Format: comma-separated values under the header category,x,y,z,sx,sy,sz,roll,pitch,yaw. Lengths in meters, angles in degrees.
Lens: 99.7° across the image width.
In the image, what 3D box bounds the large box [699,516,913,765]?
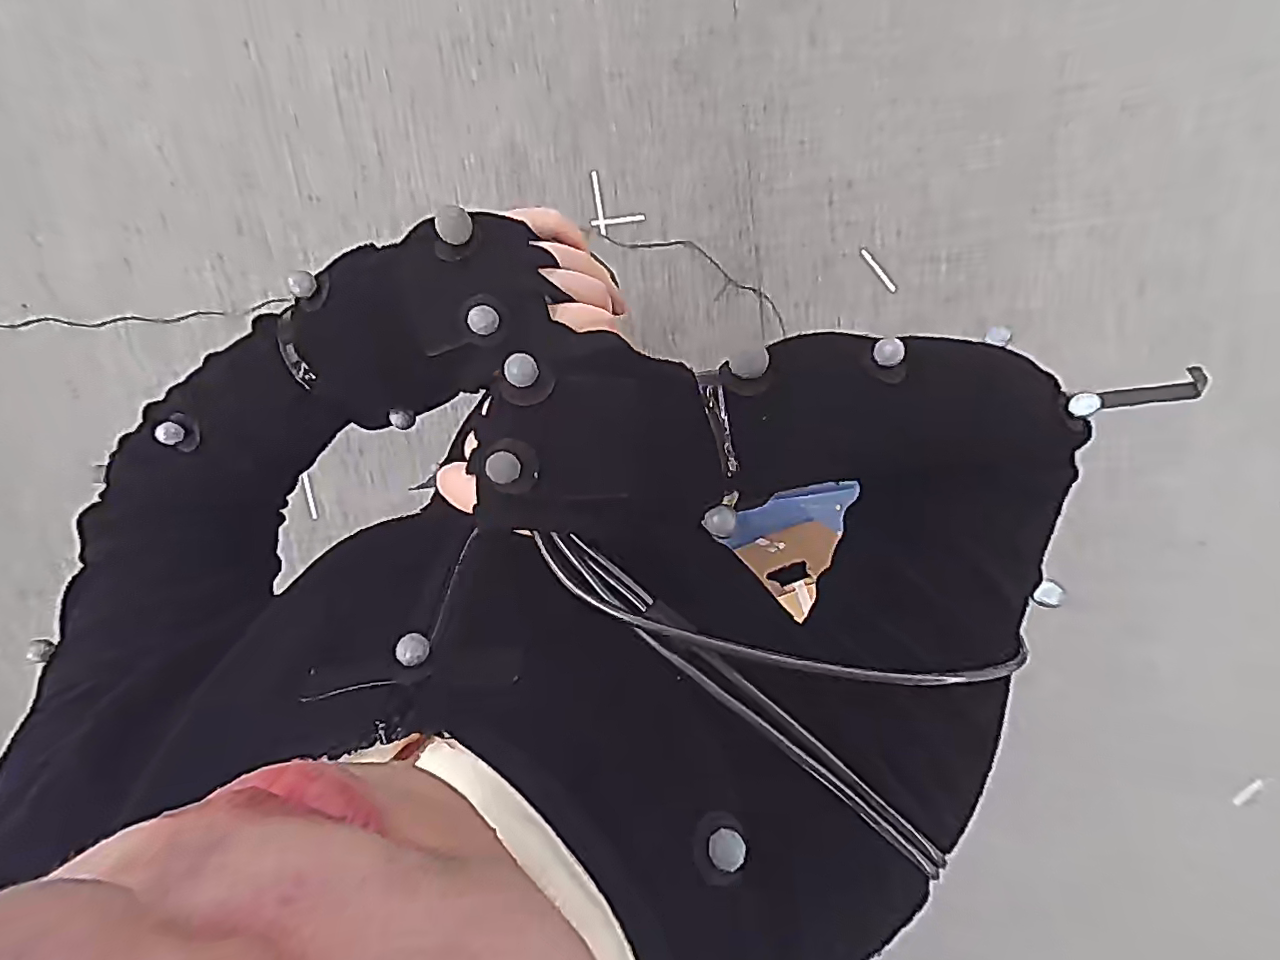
category,x,y,z,sx,sy,sz,roll,pitch,yaw
large box,0.365,0.350,1.259,0.320,0.320,0.408,-20,103,1
